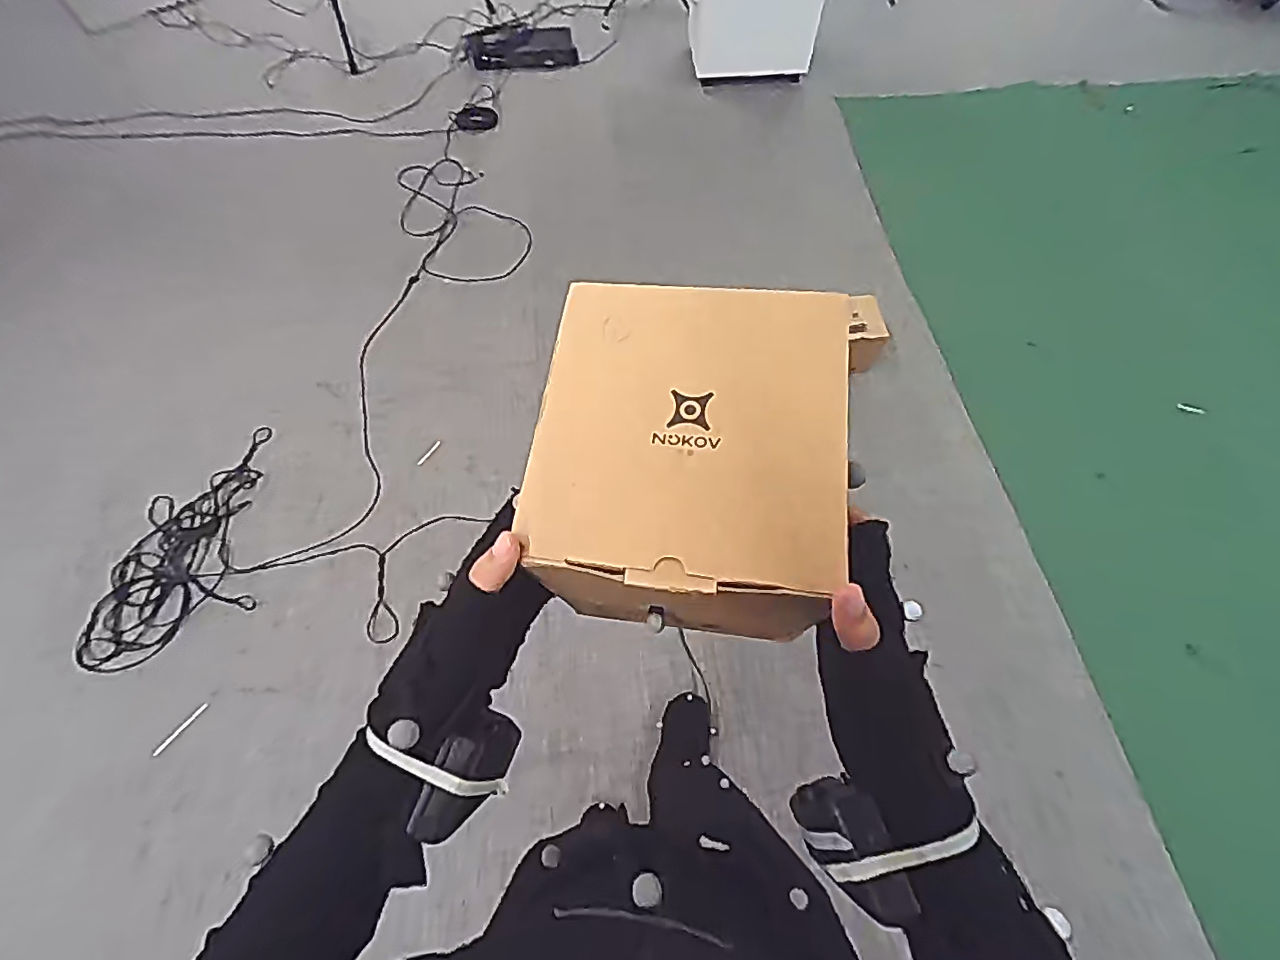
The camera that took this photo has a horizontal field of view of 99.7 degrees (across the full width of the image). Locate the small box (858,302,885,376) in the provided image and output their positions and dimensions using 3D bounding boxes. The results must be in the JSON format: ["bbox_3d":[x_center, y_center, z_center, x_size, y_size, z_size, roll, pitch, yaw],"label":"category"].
[{"bbox_3d":[0.654,-0.442,1.731,0.168,0.176,0.179,-4,62,-2],"label":"small box"}]

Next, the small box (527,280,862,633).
[{"bbox_3d":[0.041,-0.005,0.365,0.168,0.176,0.179,5,69,8],"label":"small box"}]
